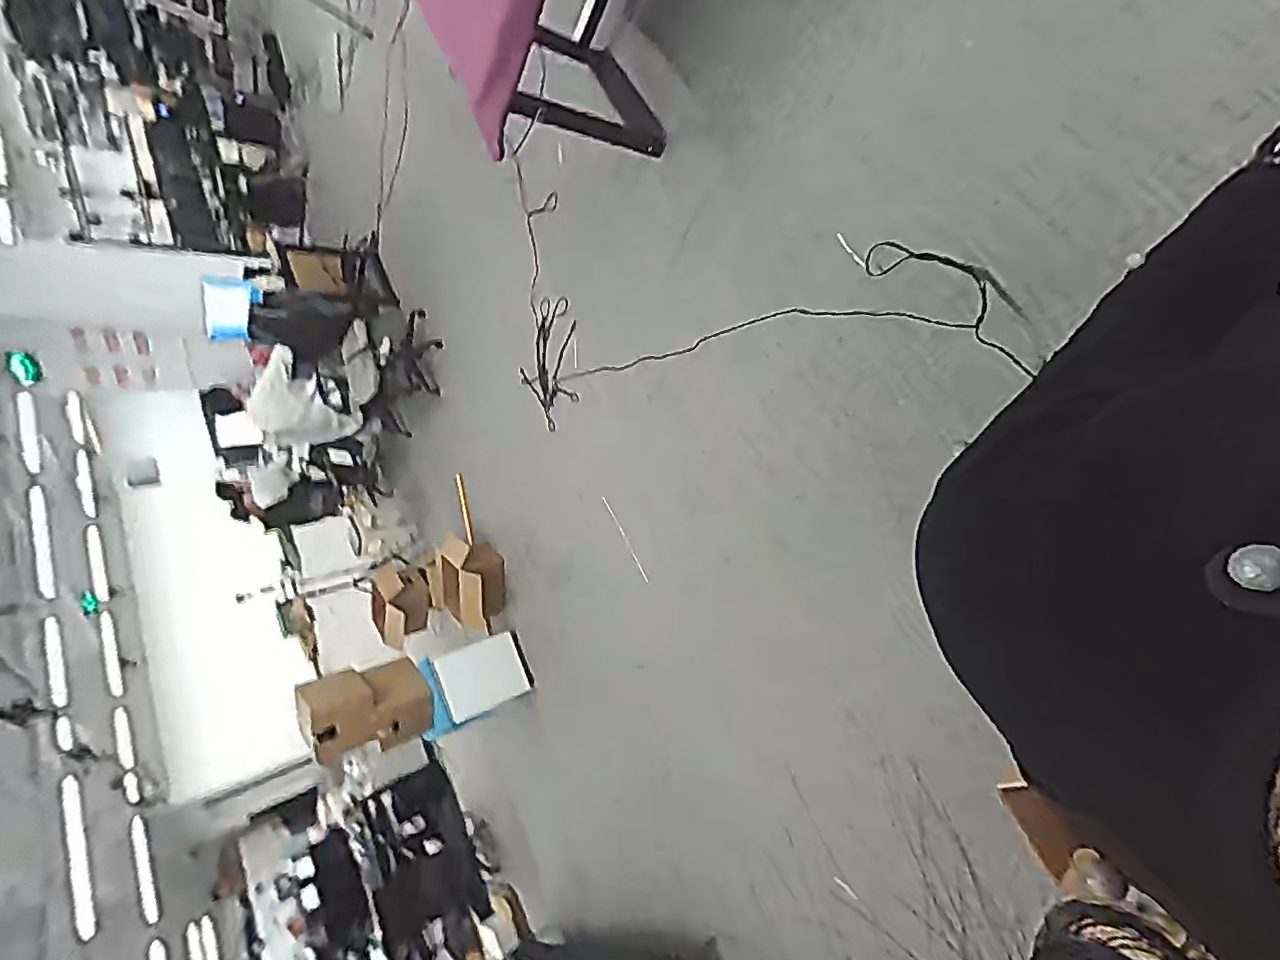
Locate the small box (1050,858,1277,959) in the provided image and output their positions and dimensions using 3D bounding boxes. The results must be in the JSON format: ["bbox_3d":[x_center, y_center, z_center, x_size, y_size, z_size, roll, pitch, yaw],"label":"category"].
[{"bbox_3d":[0.686,0.621,0.694,0.179,0.176,0.168,-42,66,48],"label":"small box"}]
